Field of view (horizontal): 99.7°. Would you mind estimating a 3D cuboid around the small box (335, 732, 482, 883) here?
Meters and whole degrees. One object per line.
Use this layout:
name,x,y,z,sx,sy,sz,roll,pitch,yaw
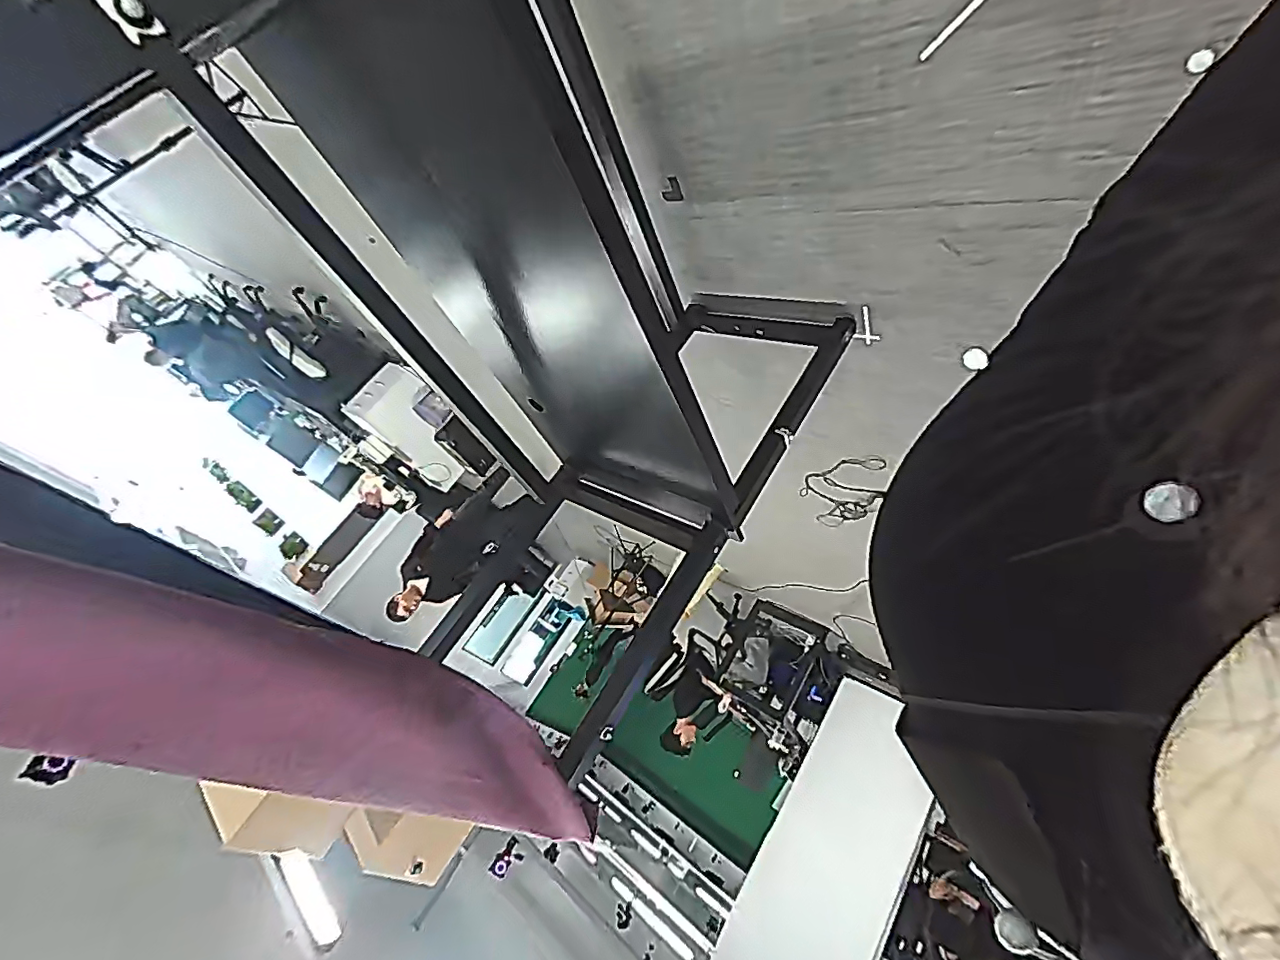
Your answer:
small box,-0.430,0.596,1.007,0.179,0.176,0.168,16,153,45
